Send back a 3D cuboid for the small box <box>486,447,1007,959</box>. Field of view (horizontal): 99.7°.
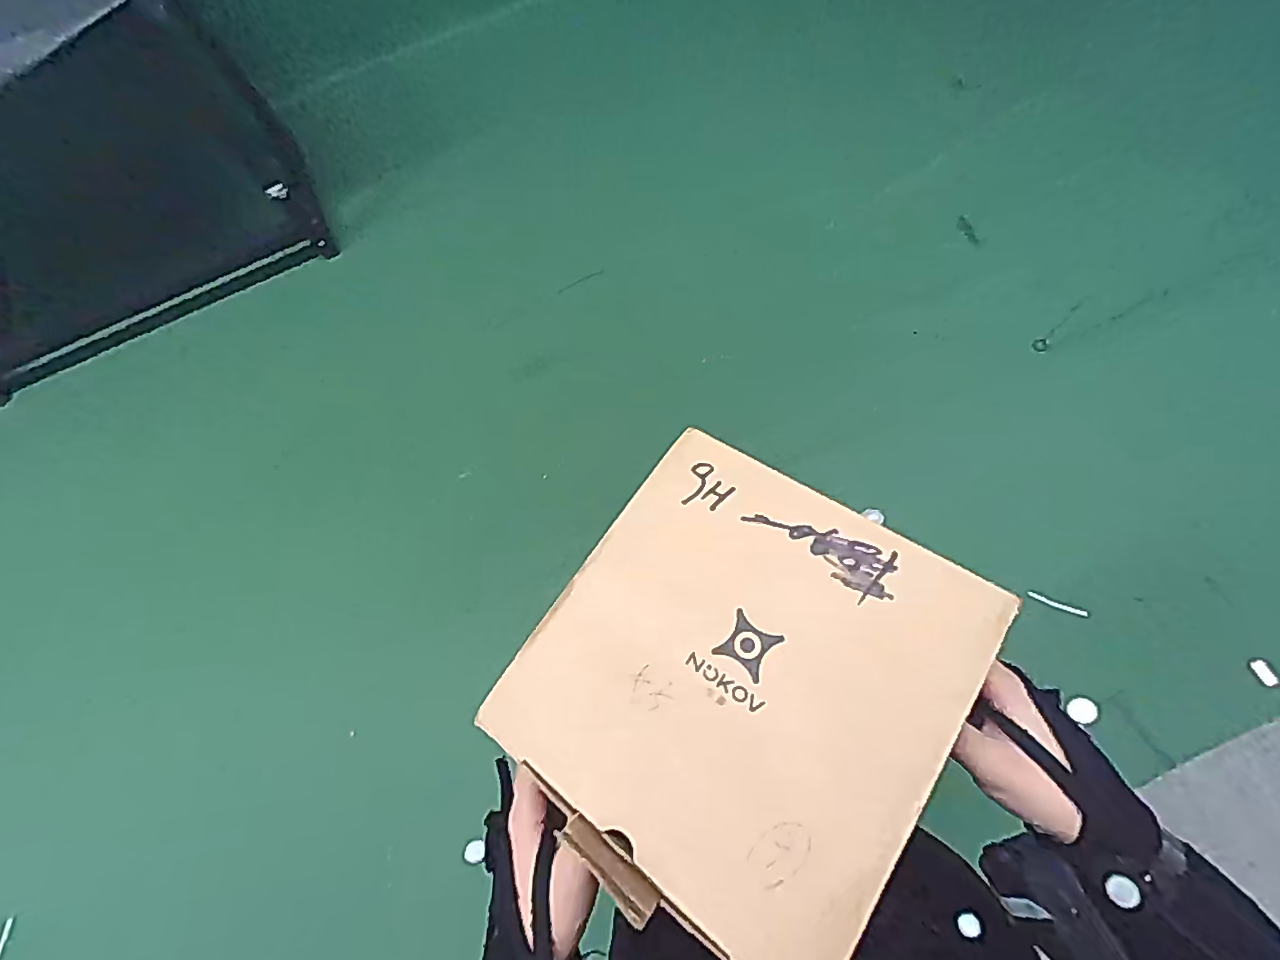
[{"bbox_3d":[0.056,0.119,0.306,0.168,0.176,0.179,31,75,23],"label":"small box"}]
